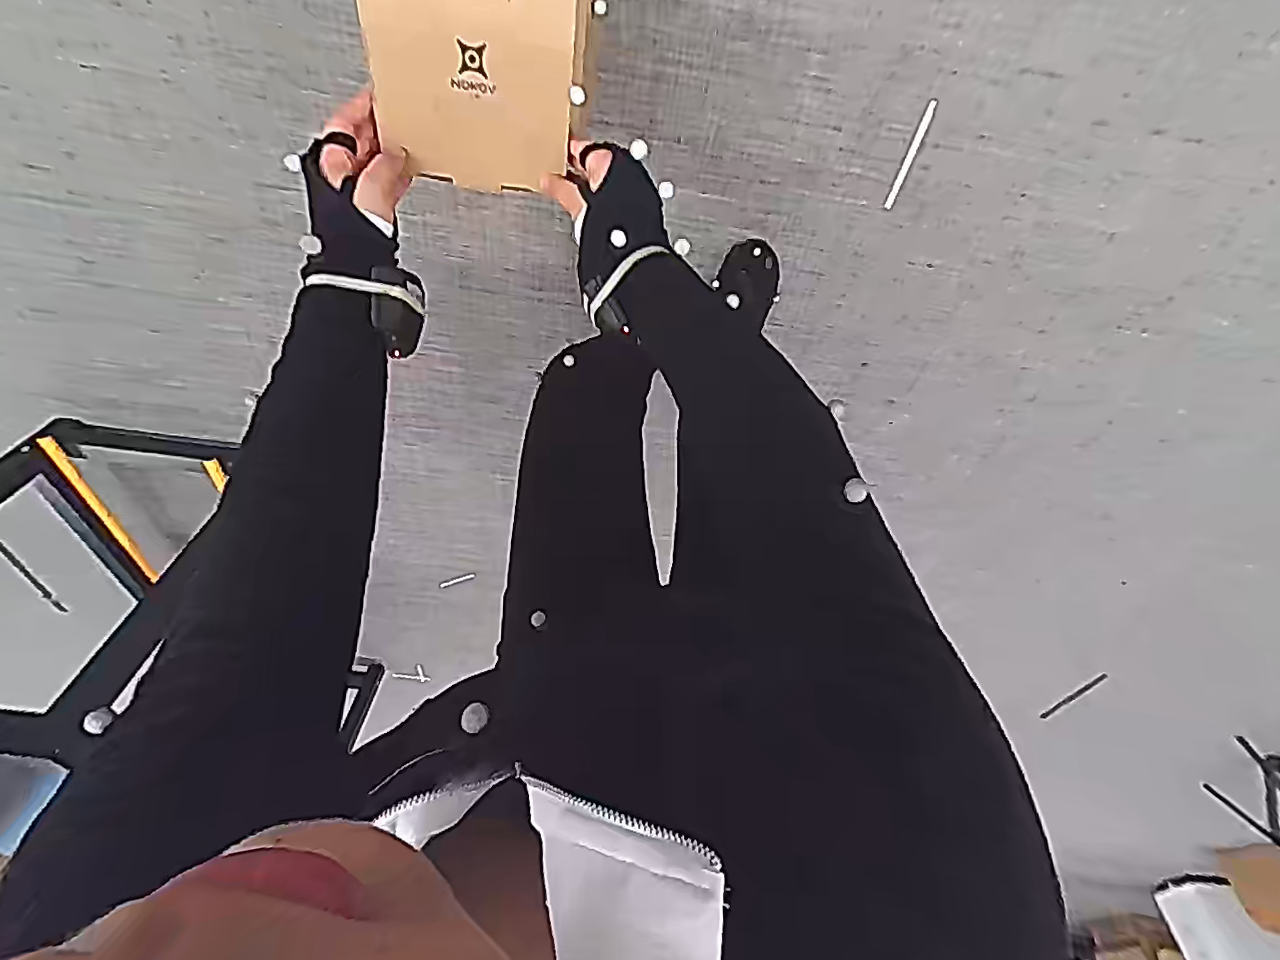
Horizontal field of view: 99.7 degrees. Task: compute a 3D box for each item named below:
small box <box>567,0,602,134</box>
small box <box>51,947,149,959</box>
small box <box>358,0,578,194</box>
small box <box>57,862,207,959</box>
[{"bbox_3d":[-0.143,-0.583,0.702,0.168,0.176,0.179,9,134,-4],"label":"small box"},{"bbox_3d":[-1.233,1.166,1.203,0.168,0.176,0.179,7,133,-3],"label":"small box"},{"bbox_3d":[-0.147,-0.402,0.506,0.168,0.176,0.179,4,136,-10],"label":"small box"},{"bbox_3d":[-1.226,1.053,1.323,0.179,0.176,0.168,7,134,-4],"label":"small box"}]
